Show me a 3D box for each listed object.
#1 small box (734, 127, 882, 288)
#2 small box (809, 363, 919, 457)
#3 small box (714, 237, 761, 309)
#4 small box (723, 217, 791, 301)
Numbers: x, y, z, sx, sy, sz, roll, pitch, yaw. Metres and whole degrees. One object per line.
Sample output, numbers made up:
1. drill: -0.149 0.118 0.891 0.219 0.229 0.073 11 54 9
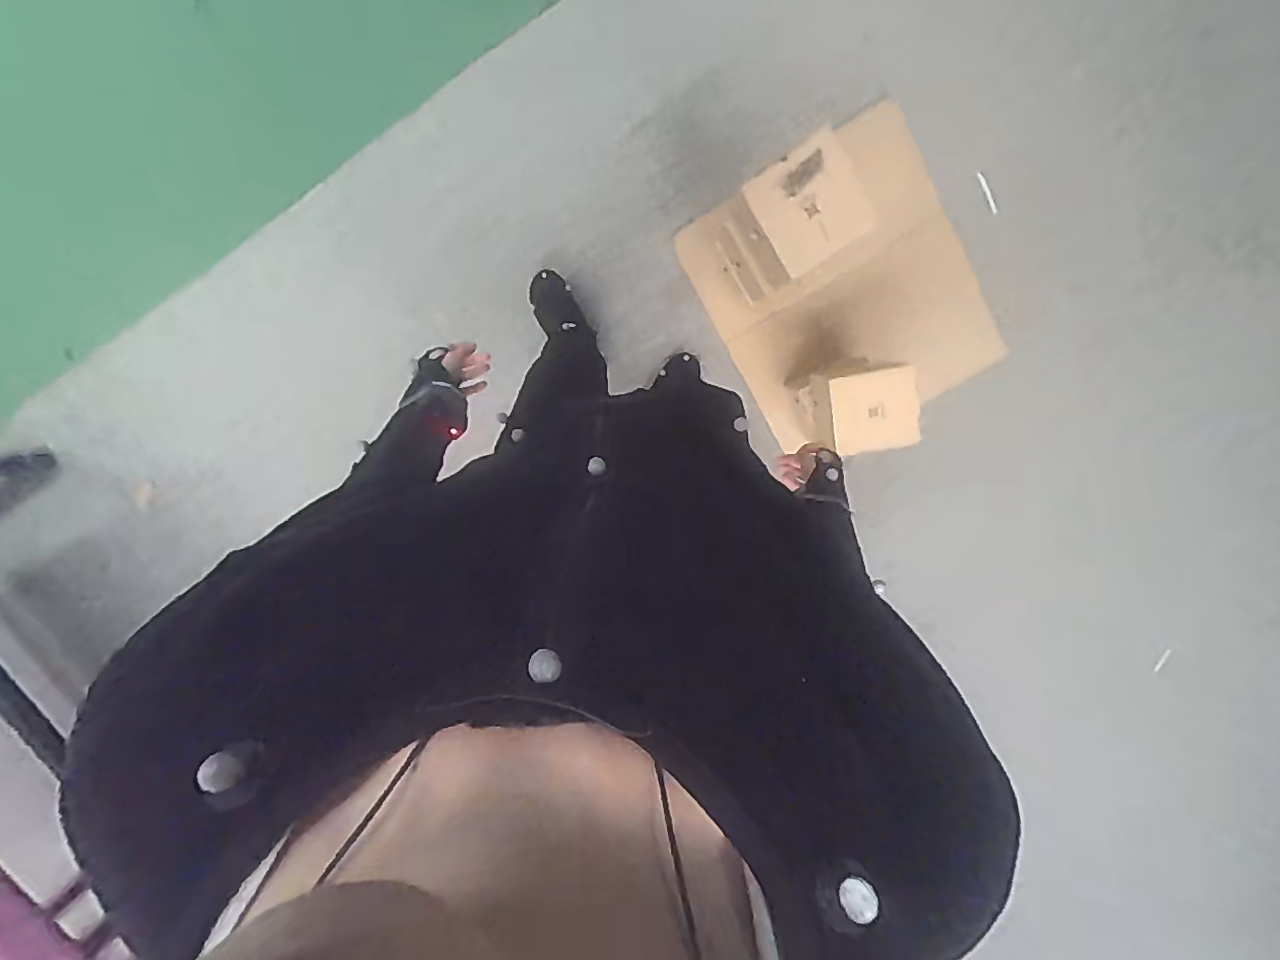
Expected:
1. small box: 0.282 -0.460 0.948 0.168 0.176 0.179 -32 101 9
2. small box: 0.484 -0.158 1.182 0.179 0.176 0.168 -9 104 5
3. small box: 0.286 -0.521 1.272 0.179 0.176 0.168 -31 101 8
4. small box: 0.283 -0.486 1.111 0.179 0.176 0.168 -30 101 9
